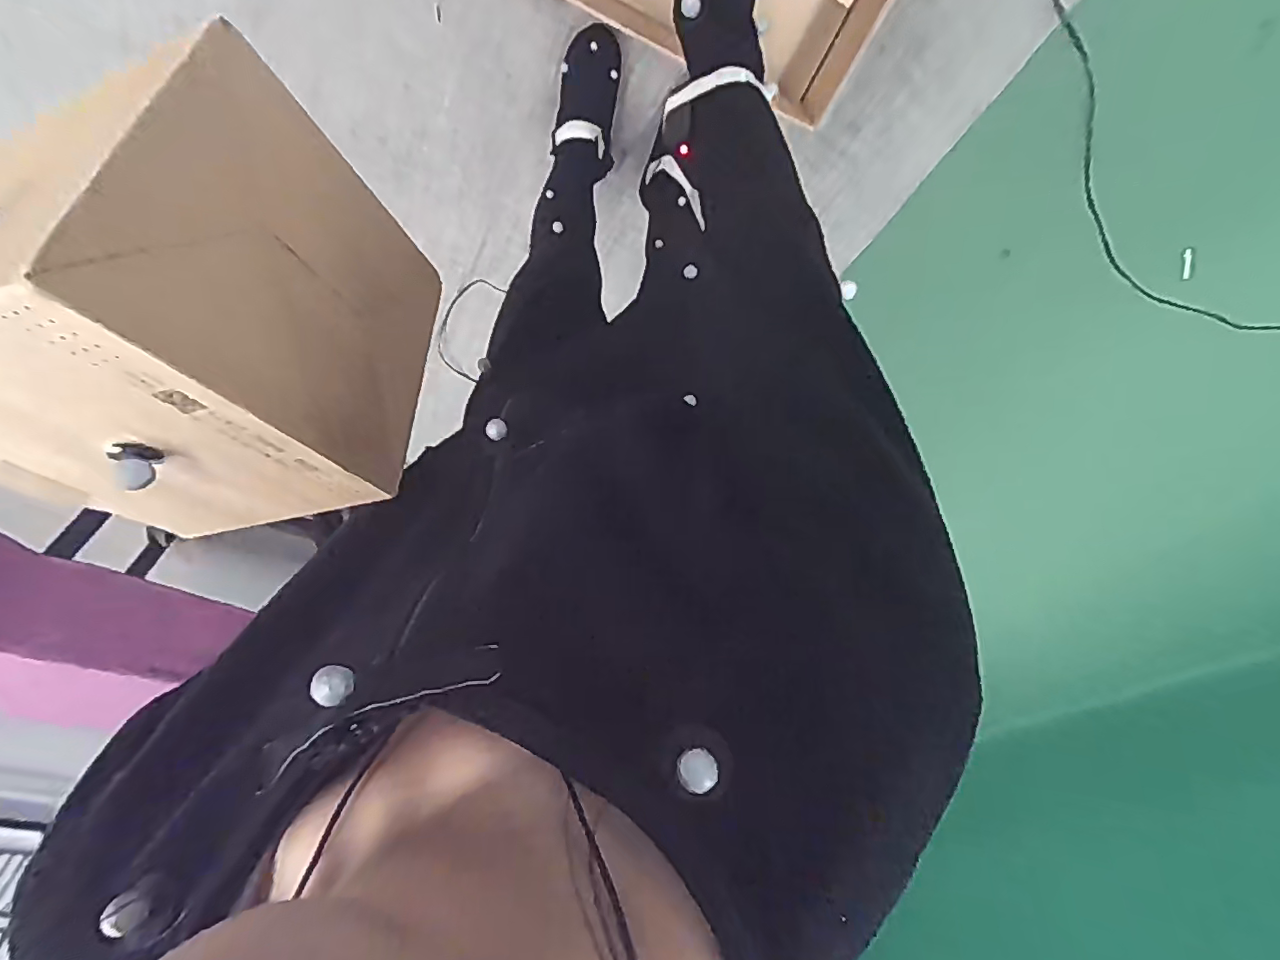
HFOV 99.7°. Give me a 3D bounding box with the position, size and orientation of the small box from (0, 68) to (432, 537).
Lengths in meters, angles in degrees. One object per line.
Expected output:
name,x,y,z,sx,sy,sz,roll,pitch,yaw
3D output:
small box,-0.245,-0.087,0.306,0.176,0.179,0.168,-9,150,12
